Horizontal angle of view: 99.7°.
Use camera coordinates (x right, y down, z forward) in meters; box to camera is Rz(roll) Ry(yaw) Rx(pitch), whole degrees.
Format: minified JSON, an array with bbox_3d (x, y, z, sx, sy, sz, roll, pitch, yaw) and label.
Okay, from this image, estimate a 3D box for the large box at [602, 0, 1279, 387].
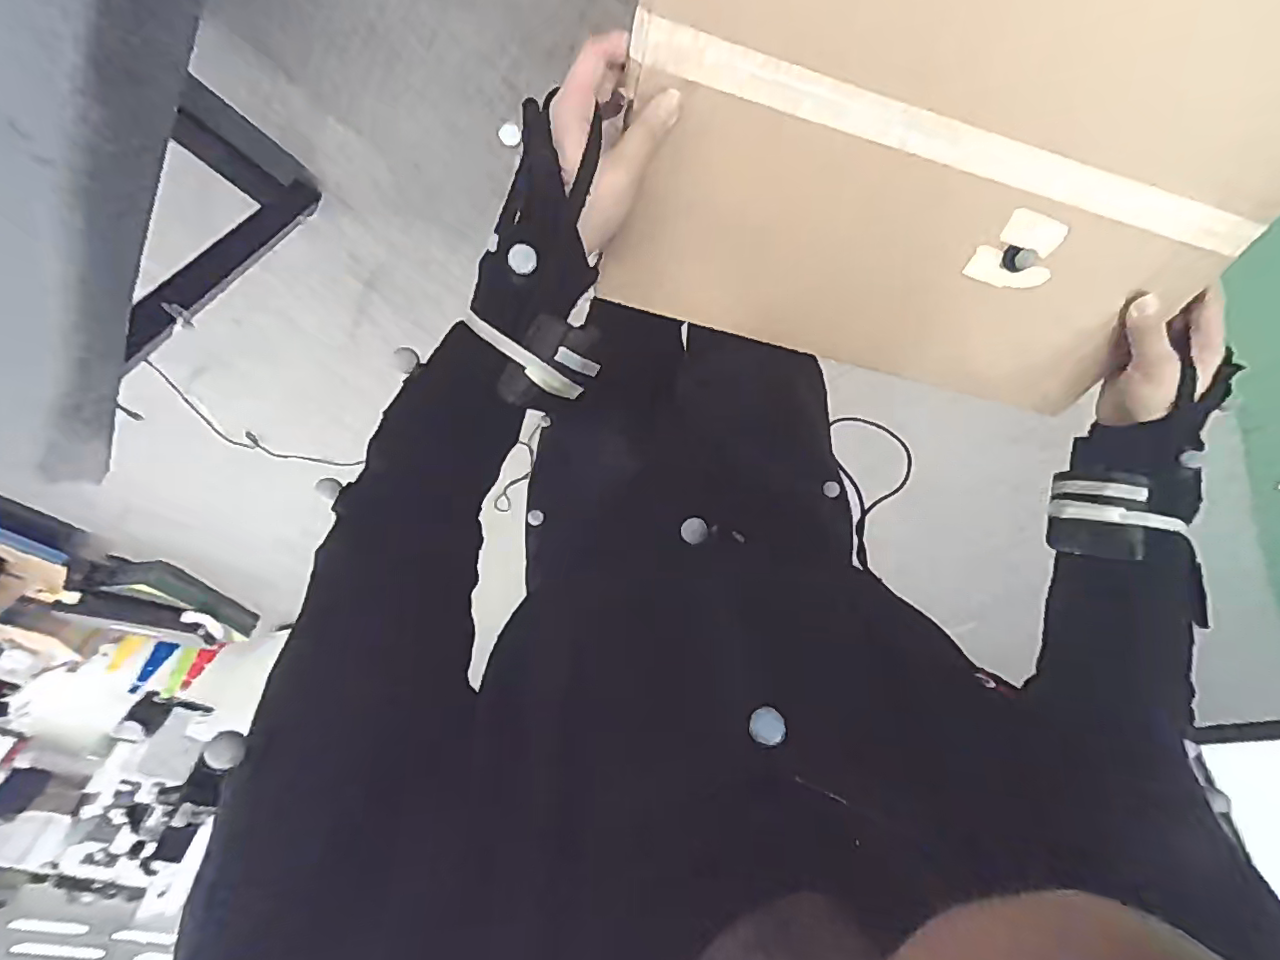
[{"bbox_3d":[0.200,-0.318,0.414,0.408,0.320,0.320,11,137,-9],"label":"large box"}]
